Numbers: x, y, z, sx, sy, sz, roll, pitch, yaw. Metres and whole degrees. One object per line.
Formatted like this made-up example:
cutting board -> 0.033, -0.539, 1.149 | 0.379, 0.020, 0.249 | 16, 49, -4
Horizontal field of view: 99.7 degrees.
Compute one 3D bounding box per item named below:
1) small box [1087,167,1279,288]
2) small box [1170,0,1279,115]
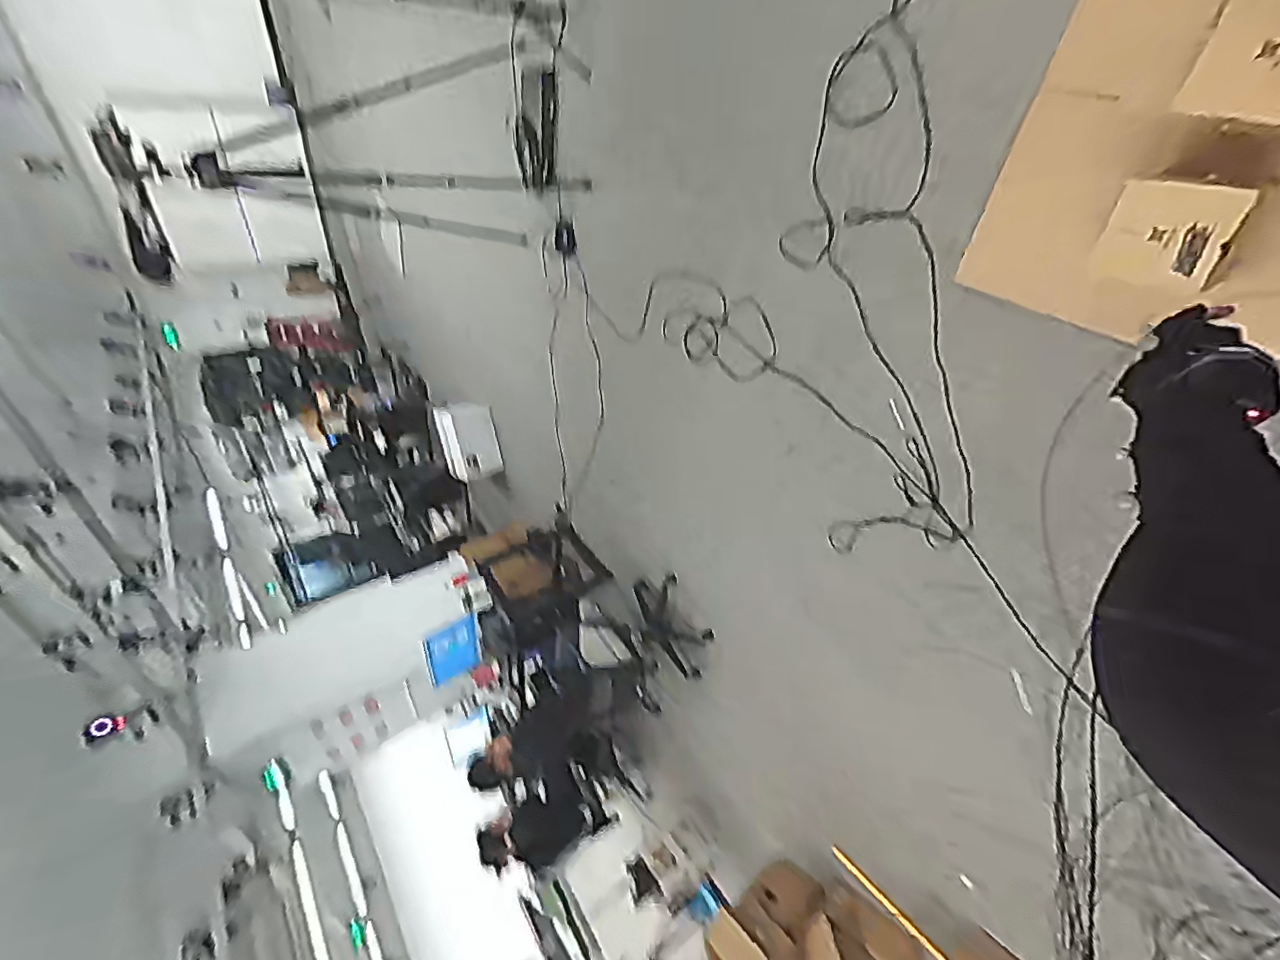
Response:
small box -> 0.971, -0.460, 0.972 | 0.179, 0.176, 0.168 | 38, 139, 41
small box -> 0.987, -0.662, 0.823 | 0.179, 0.176, 0.168 | 42, 142, 37
